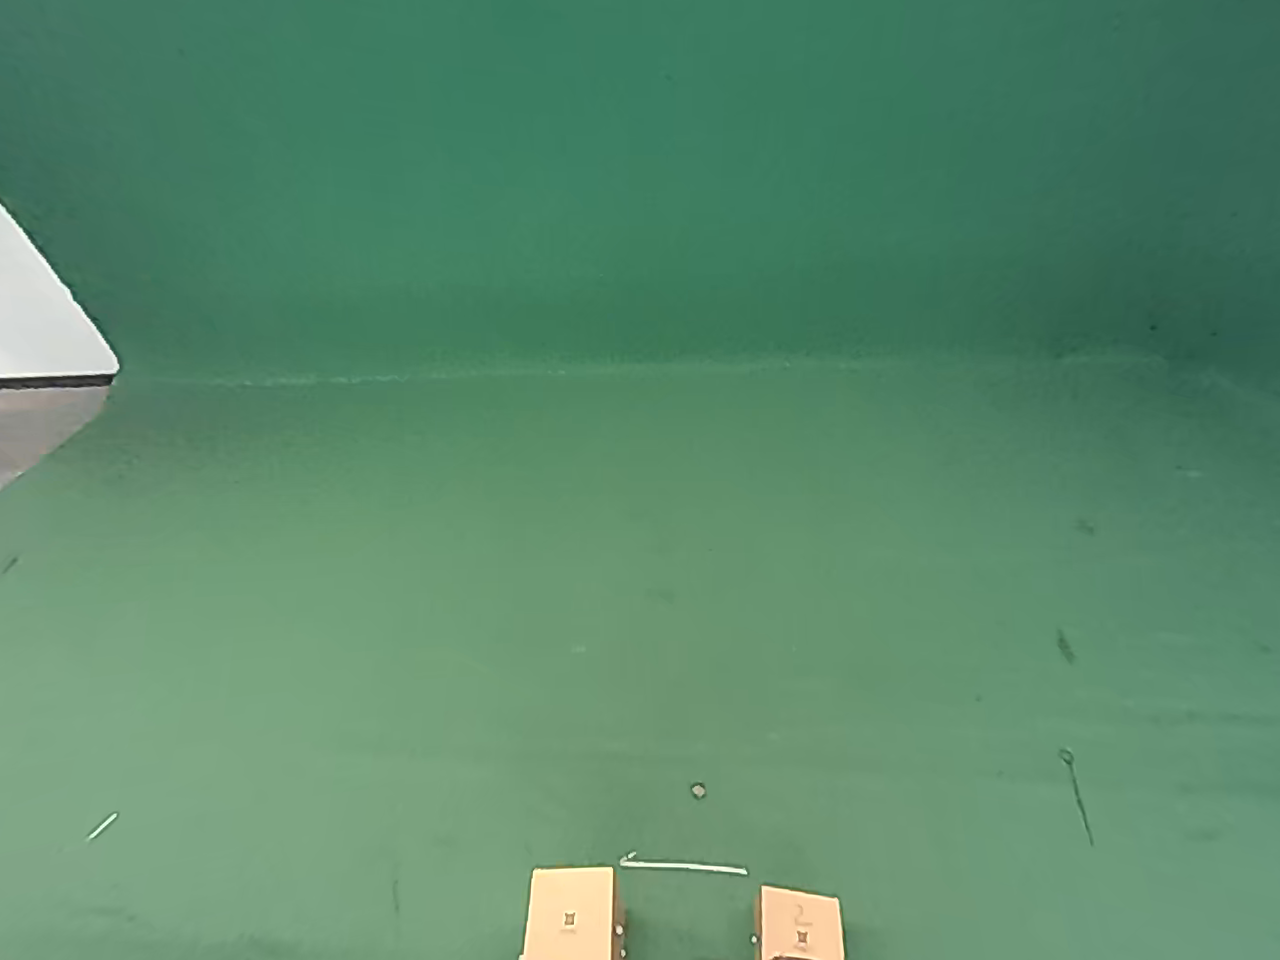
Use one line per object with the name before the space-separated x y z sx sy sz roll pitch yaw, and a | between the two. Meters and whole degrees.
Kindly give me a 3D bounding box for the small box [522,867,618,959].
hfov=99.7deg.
small box | -0.133 0.904 1.084 0.168 0.176 0.179 -3 42 1
